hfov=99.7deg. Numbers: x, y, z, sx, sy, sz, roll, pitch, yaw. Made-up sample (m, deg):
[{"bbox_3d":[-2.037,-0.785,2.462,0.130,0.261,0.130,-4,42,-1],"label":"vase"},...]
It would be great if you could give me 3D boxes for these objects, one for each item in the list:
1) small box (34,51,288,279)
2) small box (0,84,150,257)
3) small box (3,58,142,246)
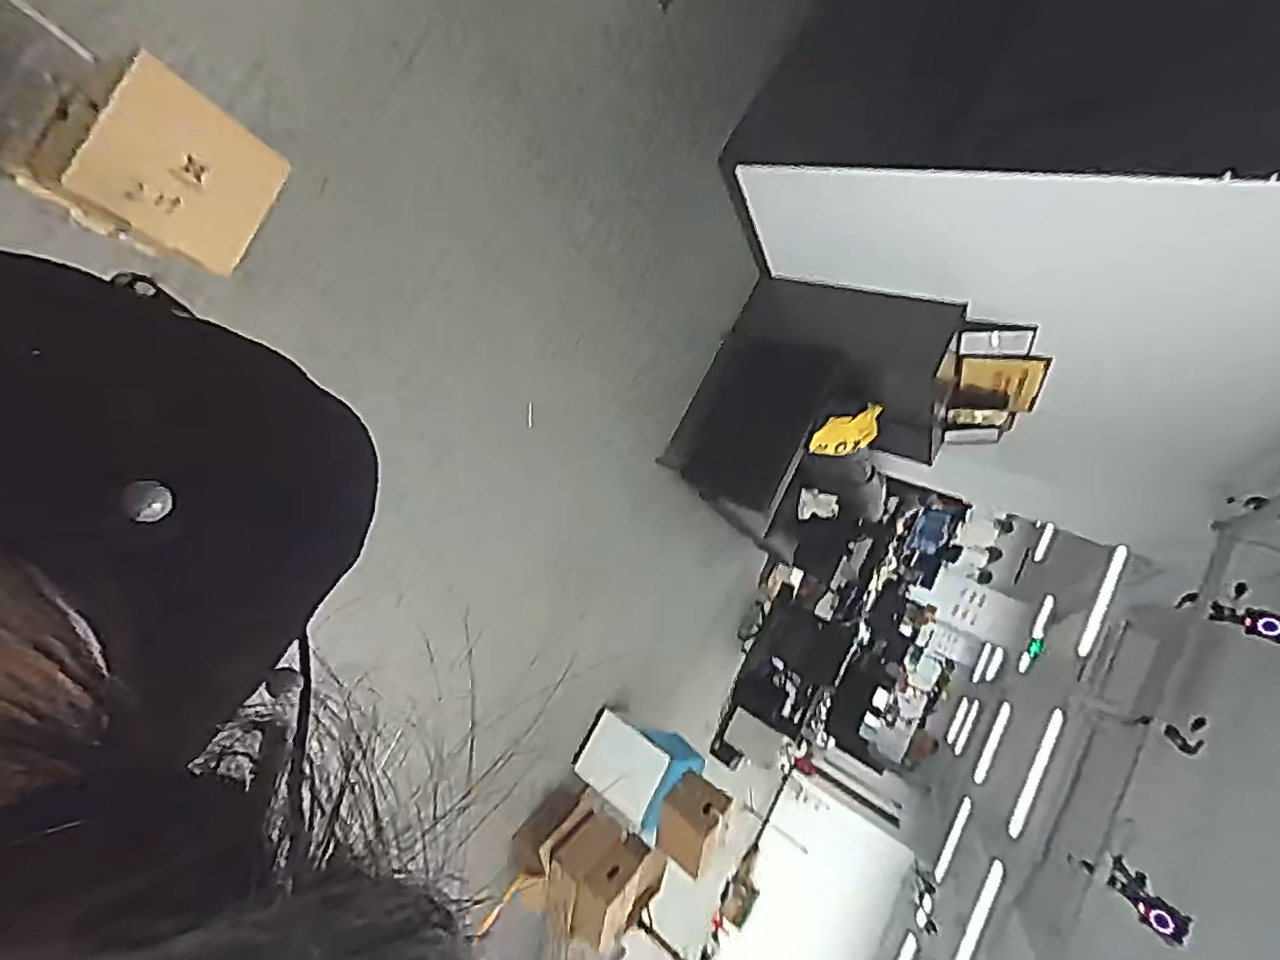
[{"bbox_3d":[-0.596,-0.385,0.675,0.168,0.176,0.179,35,80,-57],"label":"small box"},{"bbox_3d":[-0.854,-0.486,0.853,0.179,0.176,0.168,-63,149,-5],"label":"small box"},{"bbox_3d":[-0.726,-0.440,0.760,0.168,0.176,0.179,-63,149,-7],"label":"small box"}]
